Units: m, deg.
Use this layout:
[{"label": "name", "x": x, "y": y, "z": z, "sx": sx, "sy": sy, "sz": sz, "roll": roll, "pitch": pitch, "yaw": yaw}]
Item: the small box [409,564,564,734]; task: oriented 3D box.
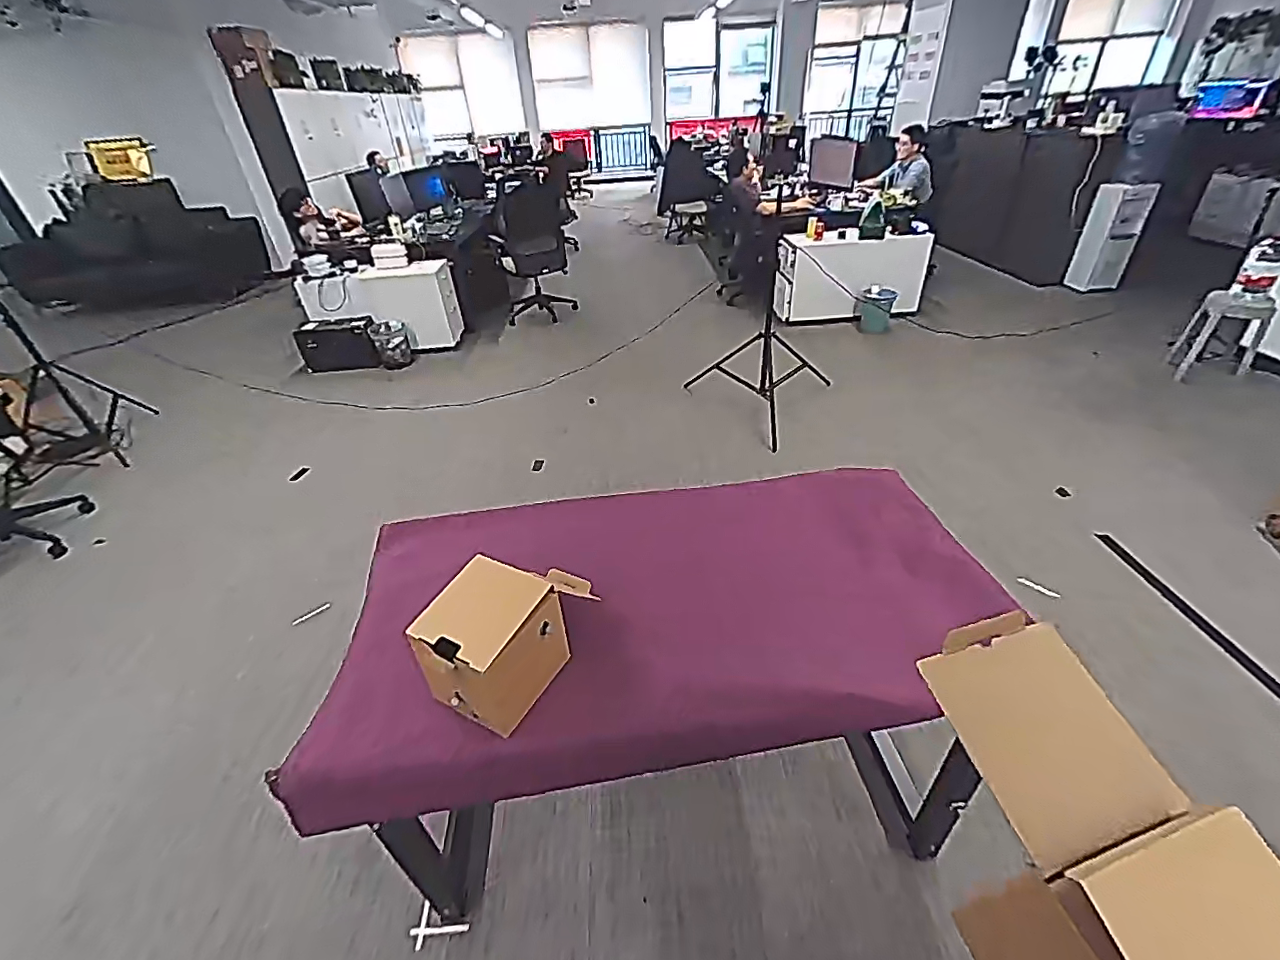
[{"label": "small box", "x": -0.241, "y": 0.275, "z": 0.897, "sx": 0.168, "sy": 0.176, "sz": 0.179, "roll": 14, "pitch": 38, "yaw": 26}]
